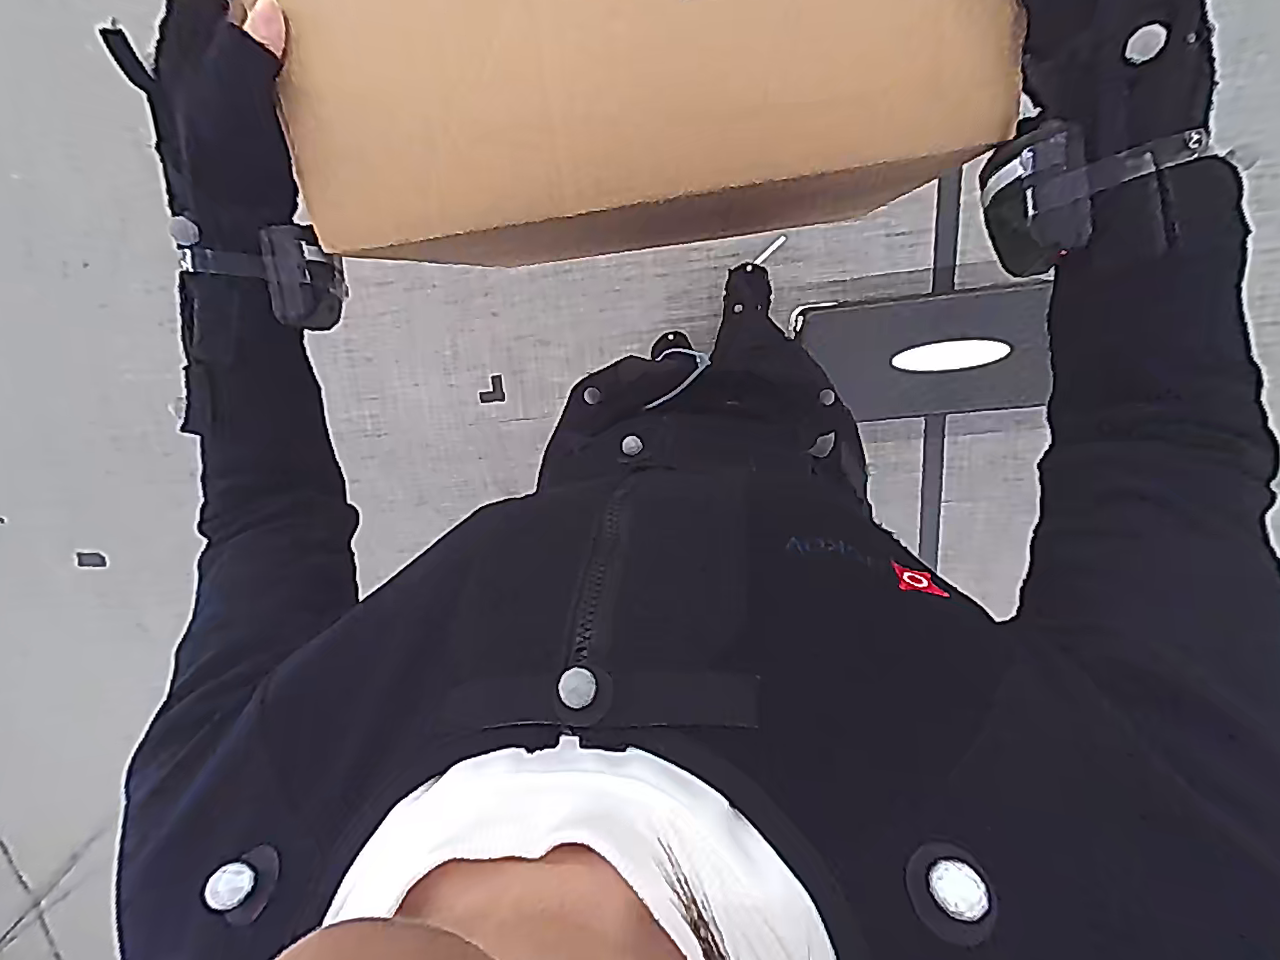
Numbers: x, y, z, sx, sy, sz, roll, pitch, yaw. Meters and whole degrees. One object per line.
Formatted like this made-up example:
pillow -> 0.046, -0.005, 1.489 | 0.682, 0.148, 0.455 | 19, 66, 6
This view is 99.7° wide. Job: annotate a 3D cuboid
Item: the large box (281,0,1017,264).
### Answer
large box -> 0.001, -0.365, 0.416 | 0.408, 0.320, 0.320 | -5, 109, 9
